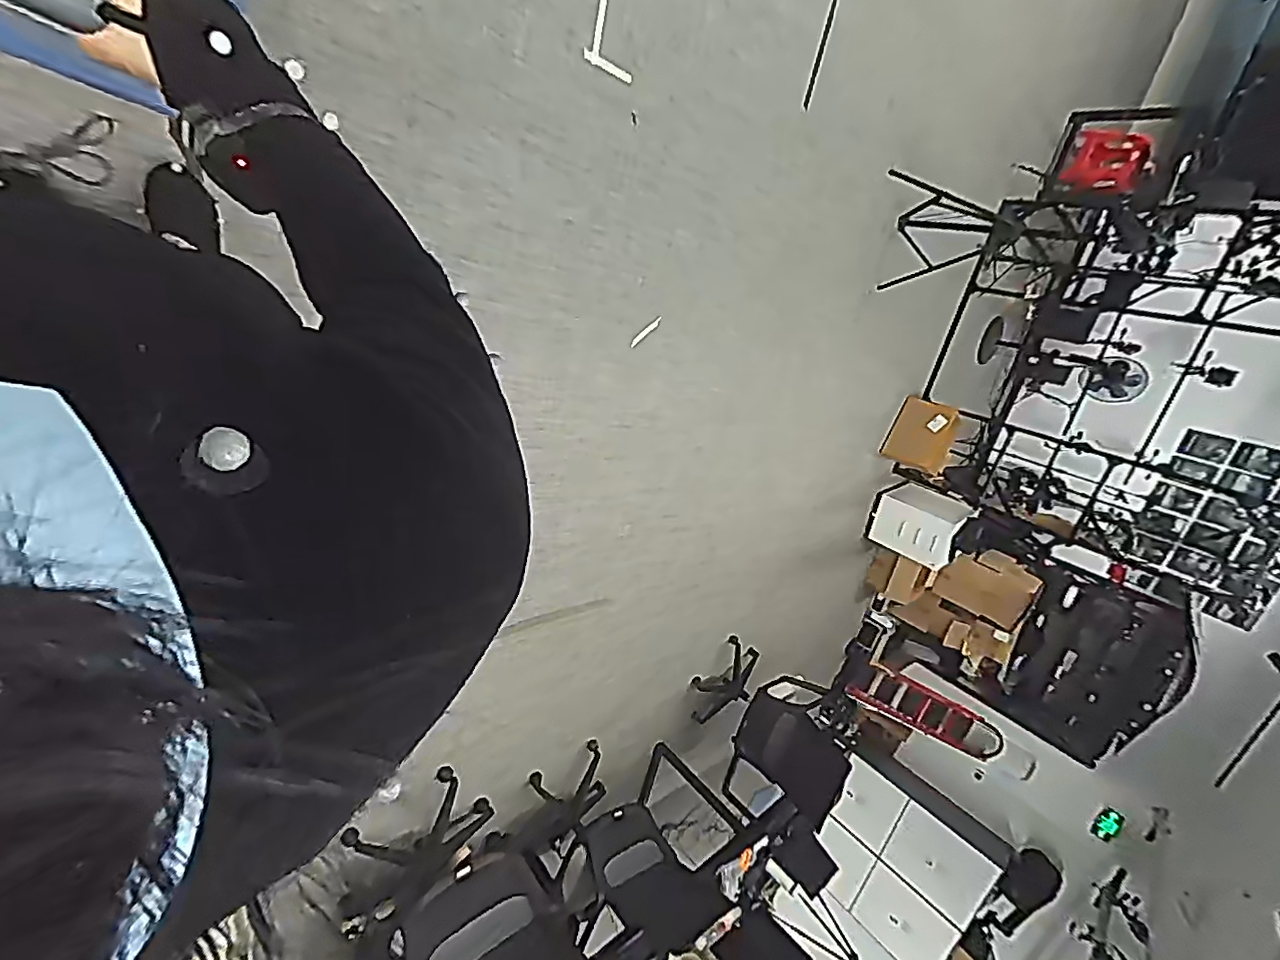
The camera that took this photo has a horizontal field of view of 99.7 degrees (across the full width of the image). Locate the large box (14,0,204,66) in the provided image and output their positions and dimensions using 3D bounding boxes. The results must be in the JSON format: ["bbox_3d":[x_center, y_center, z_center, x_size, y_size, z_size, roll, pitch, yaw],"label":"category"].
[{"bbox_3d":[-0.742,-0.748,0.589,0.408,0.320,0.320,4,110,-48],"label":"large box"}]
